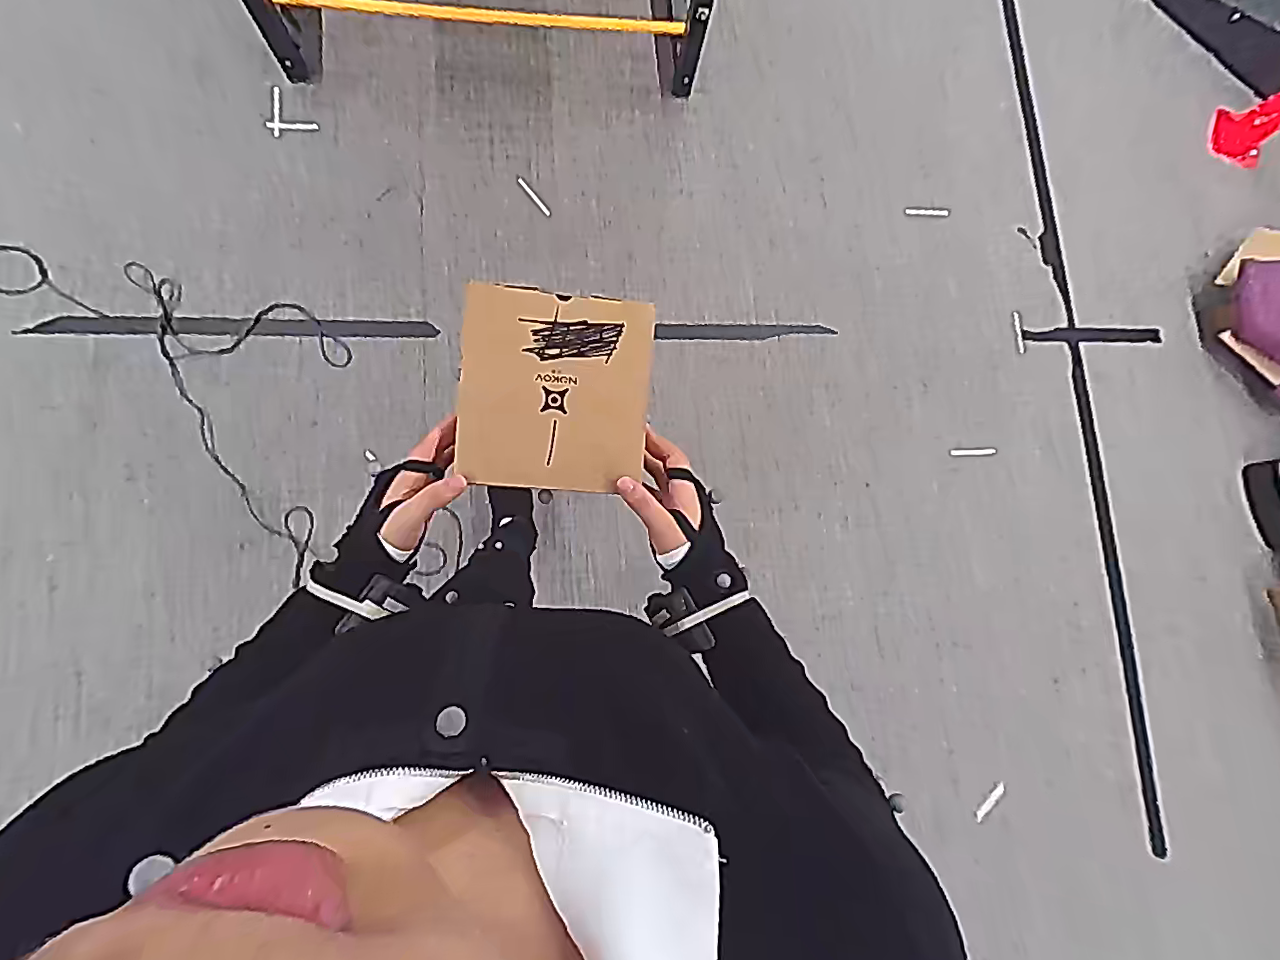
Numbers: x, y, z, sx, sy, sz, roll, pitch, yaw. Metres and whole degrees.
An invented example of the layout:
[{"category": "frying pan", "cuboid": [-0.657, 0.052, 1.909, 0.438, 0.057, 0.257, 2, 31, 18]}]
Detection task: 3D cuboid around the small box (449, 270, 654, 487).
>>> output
[{"category": "small box", "cuboid": [-0.086, -0.086, 0.548, 0.168, 0.176, 0.179, 5, 89, -8]}]
